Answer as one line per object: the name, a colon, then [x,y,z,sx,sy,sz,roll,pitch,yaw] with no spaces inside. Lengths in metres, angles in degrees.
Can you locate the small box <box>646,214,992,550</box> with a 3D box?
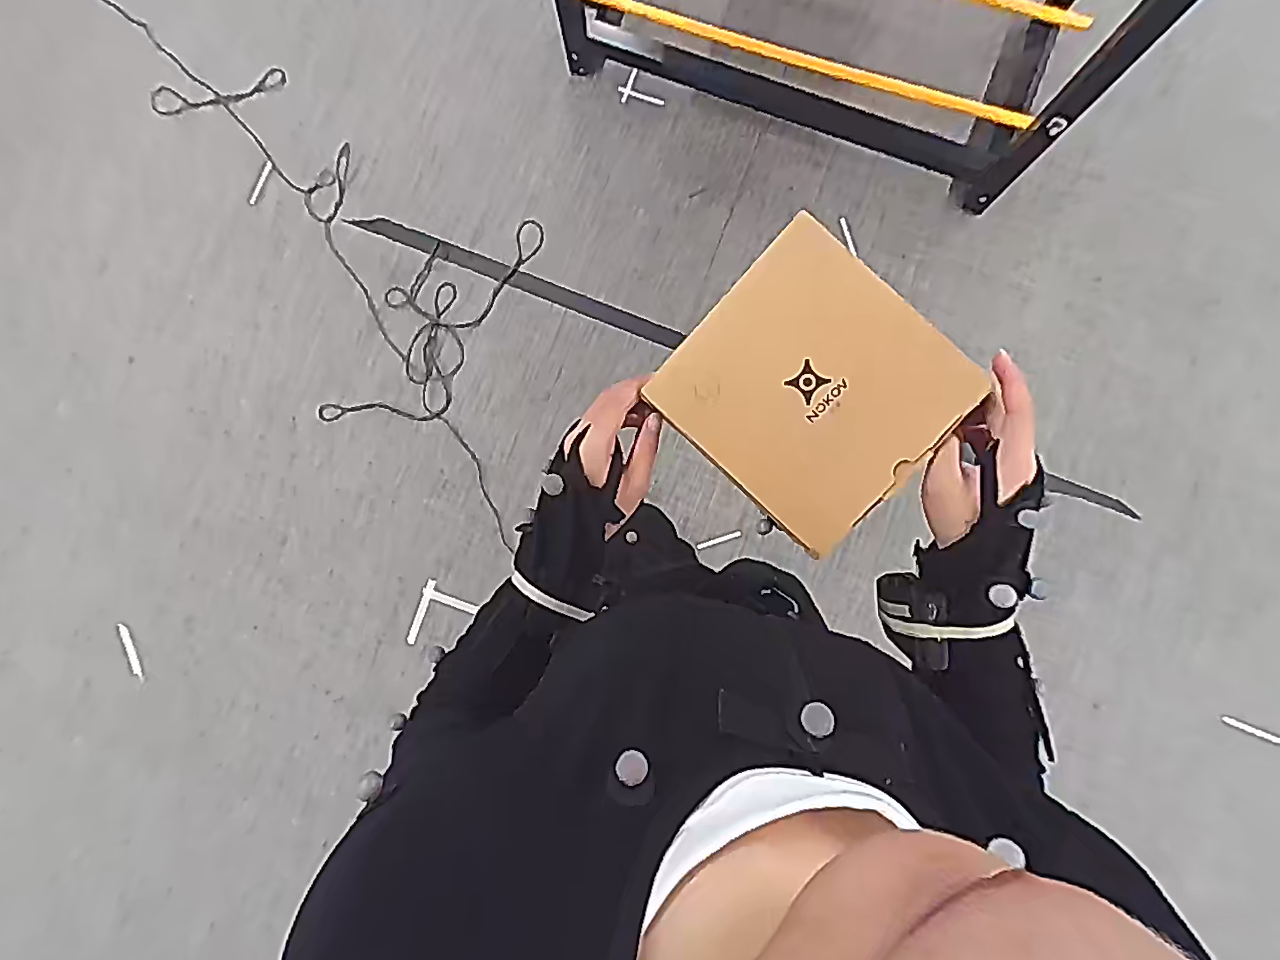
small box: [0.126,-0.068,0.449,0.179,0.176,0.168,43,96,2]
